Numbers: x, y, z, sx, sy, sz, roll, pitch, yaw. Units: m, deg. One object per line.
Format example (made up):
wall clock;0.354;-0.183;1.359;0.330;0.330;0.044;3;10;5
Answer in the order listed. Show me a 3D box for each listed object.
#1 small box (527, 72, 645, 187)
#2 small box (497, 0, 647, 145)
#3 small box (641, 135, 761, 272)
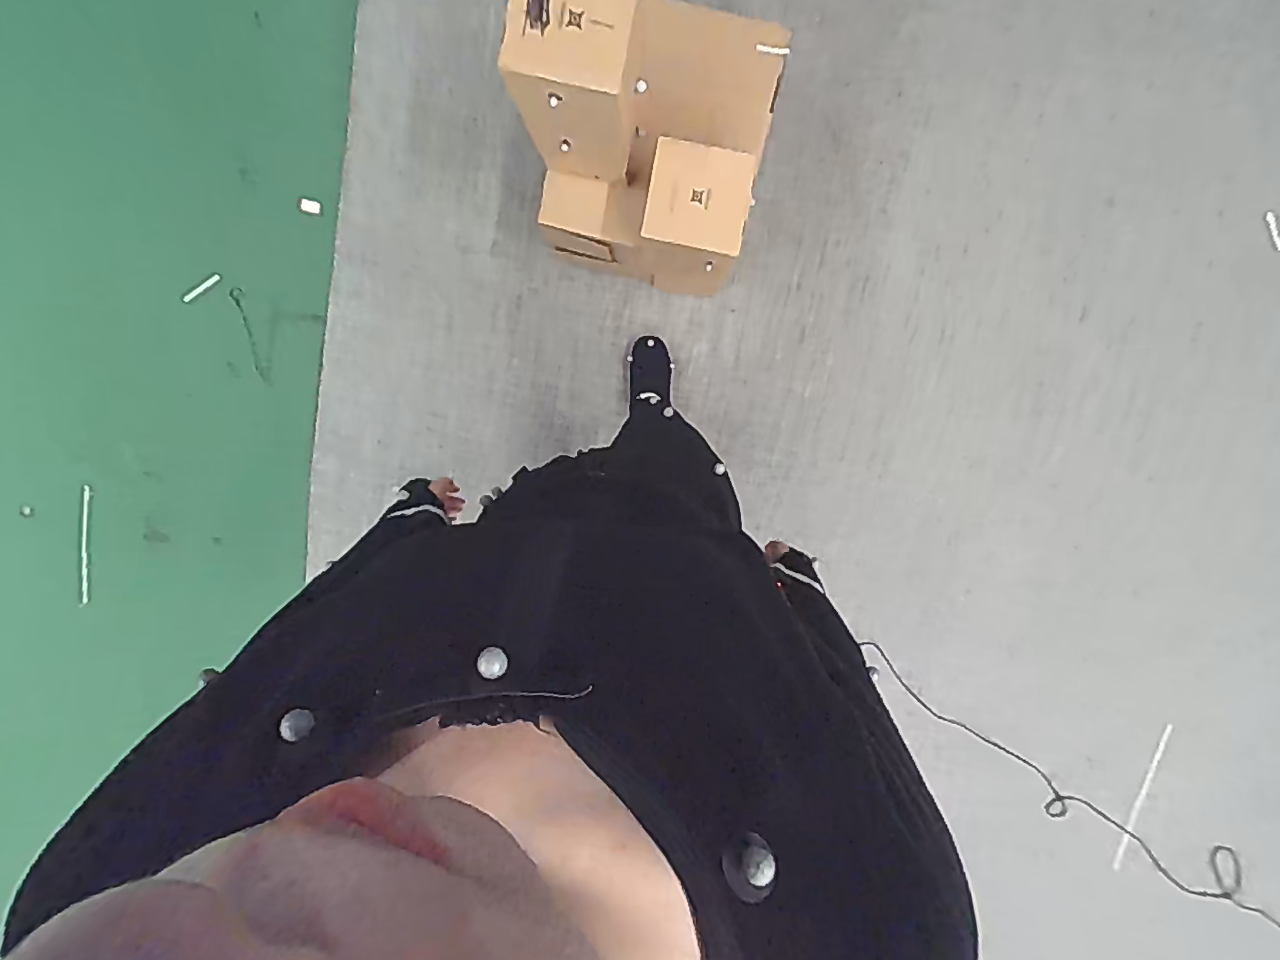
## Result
small box;-0.089;-0.666;0.972;0.168;0.176;0.179;13;98;0
small box;-0.092;-0.637;0.810;0.179;0.176;0.168;13;99;0
small box;0.104;-0.493;0.993;0.179;0.176;0.168;11;99;0
